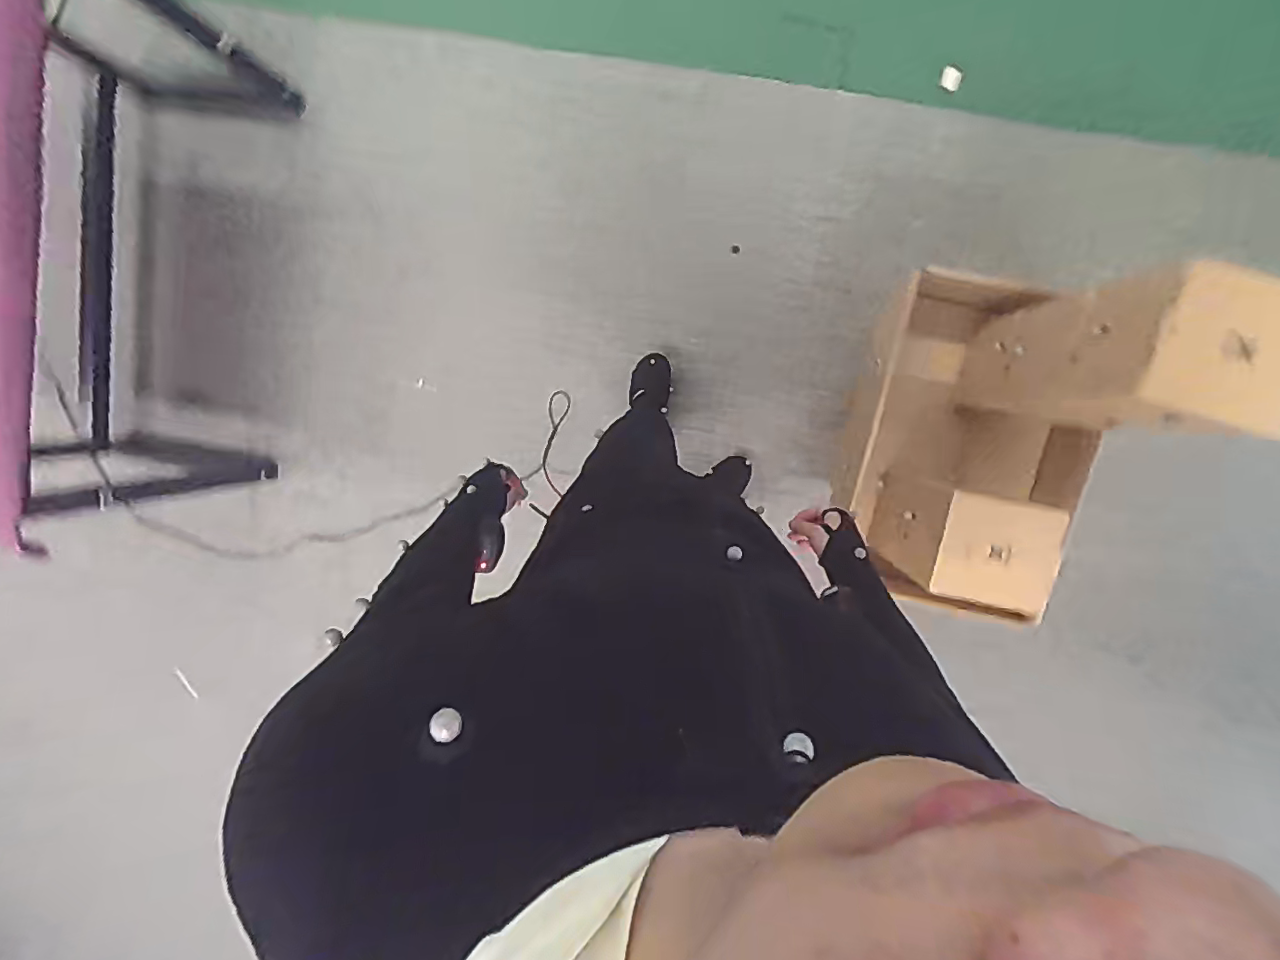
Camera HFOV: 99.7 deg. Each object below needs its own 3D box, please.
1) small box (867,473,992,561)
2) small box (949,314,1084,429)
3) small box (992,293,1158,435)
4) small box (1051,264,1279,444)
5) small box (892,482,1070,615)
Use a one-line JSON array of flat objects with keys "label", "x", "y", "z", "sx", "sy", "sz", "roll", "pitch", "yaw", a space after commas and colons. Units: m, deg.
[{"label": "small box", "x": 0.577, "y": 0.085, "z": 1.074, "sx": 0.179, "sy": 0.176, "sz": 0.168, "roll": 13, "pitch": 98, "yaw": 4}, {"label": "small box", "x": 0.733, "y": -0.200, "z": 1.023, "sx": 0.179, "sy": 0.176, "sz": 0.168, "roll": 15, "pitch": 99, "yaw": 4}, {"label": "small box", "x": 0.716, "y": -0.178, "z": 0.862, "sx": 0.179, "sy": 0.176, "sz": 0.168, "roll": 17, "pitch": 98, "yaw": 4}, {"label": "small box", "x": 0.699, "y": -0.155, "z": 0.702, "sx": 0.179, "sy": 0.176, "sz": 0.168, "roll": 18, "pitch": 98, "yaw": 4}, {"label": "small box", "x": 0.559, "y": 0.104, "z": 0.913, "sx": 0.179, "sy": 0.176, "sz": 0.168, "roll": 12, "pitch": 98, "yaw": 5}]
